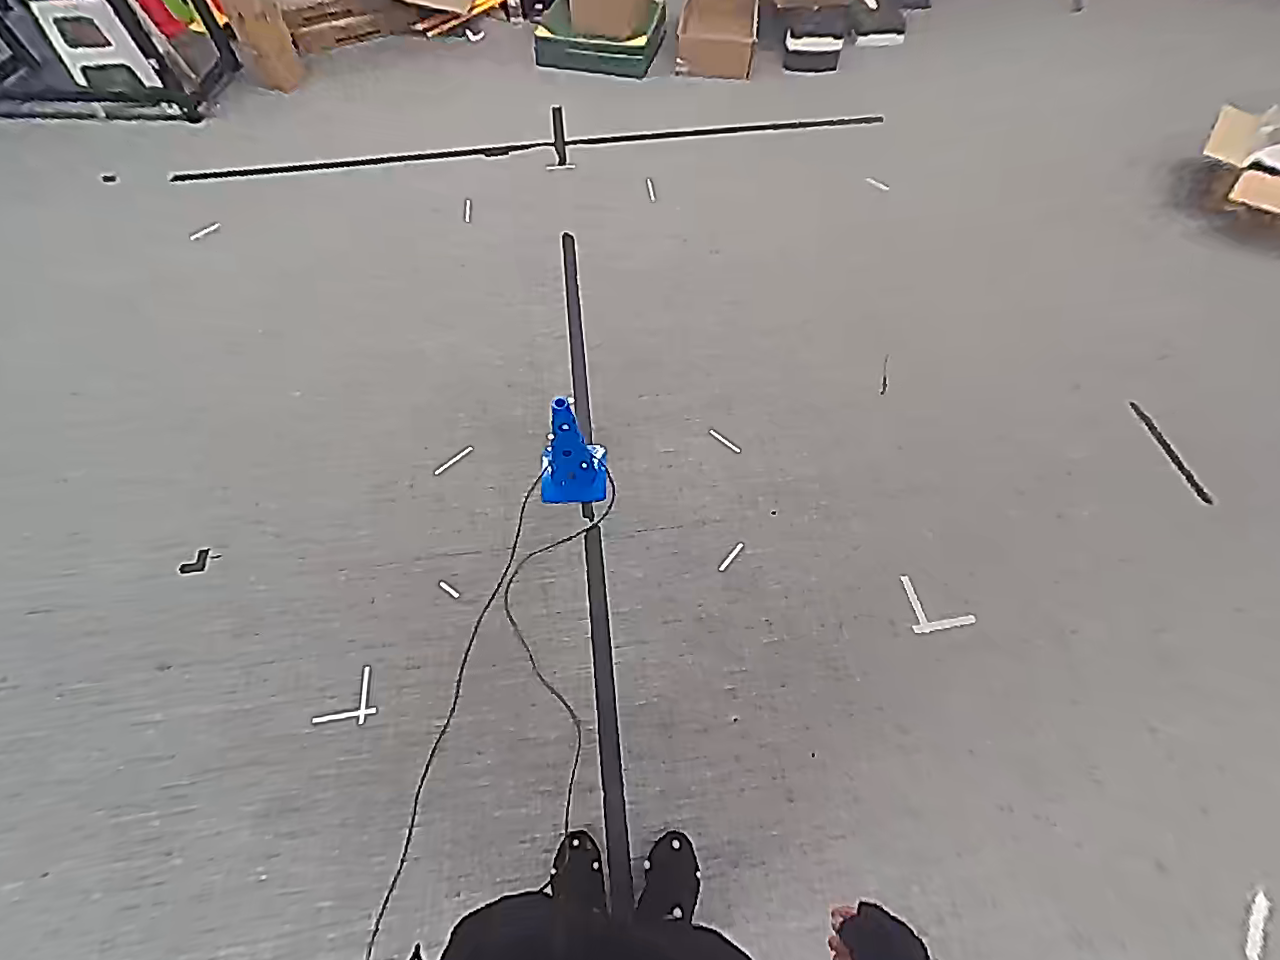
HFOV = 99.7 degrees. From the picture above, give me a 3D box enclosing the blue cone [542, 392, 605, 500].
[{"bbox_3d":[-0.204,-0.105,1.505,0.193,0.380,0.192,-4,61,-2],"label":"blue cone"}]
